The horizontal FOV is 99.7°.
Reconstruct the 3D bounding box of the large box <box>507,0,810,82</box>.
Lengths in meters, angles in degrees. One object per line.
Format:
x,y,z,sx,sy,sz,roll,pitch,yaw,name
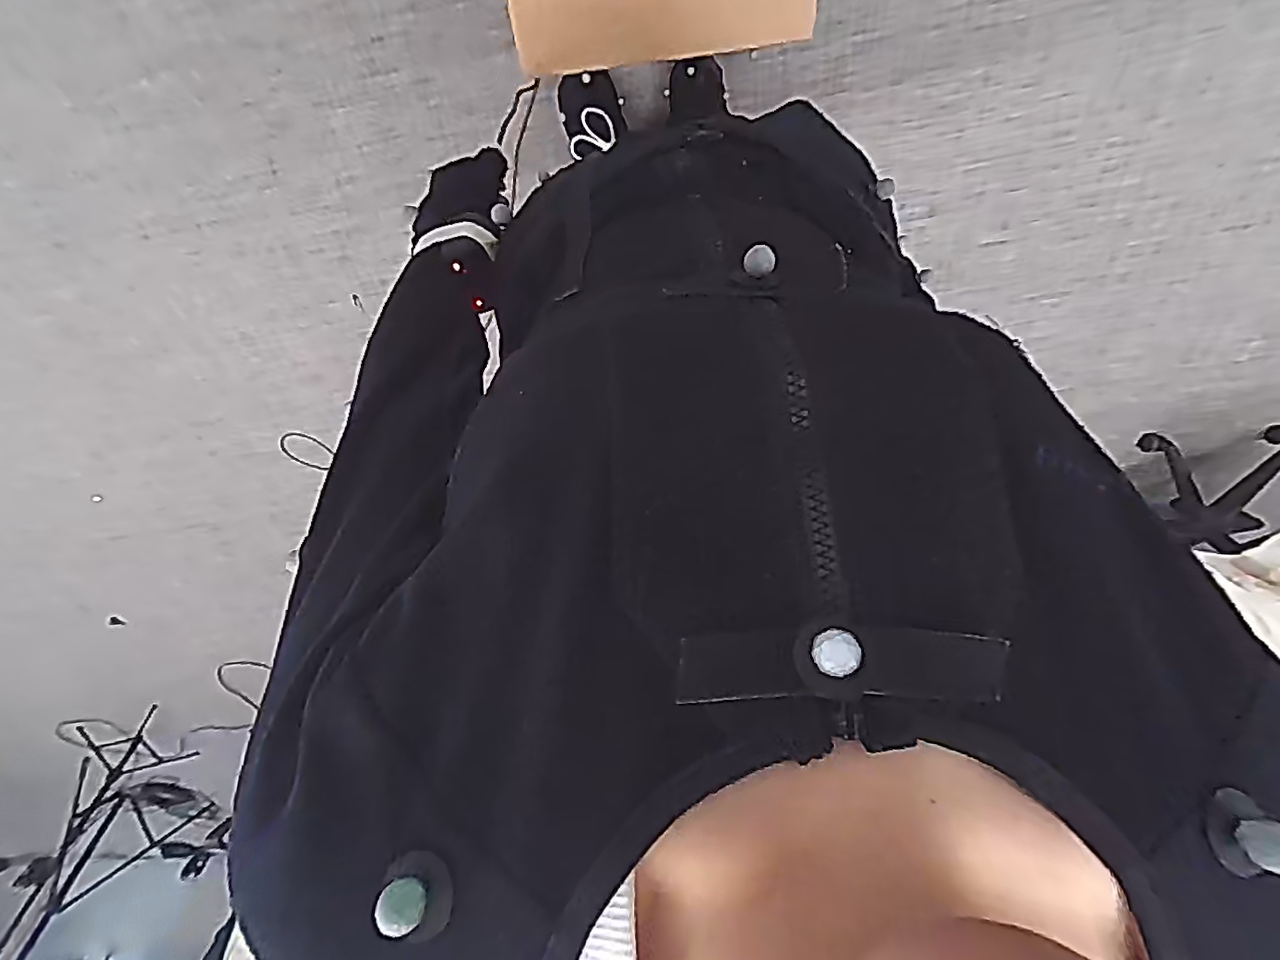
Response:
0.011,-0.795,0.762,0.408,0.320,0.320,-6,131,2,large box
